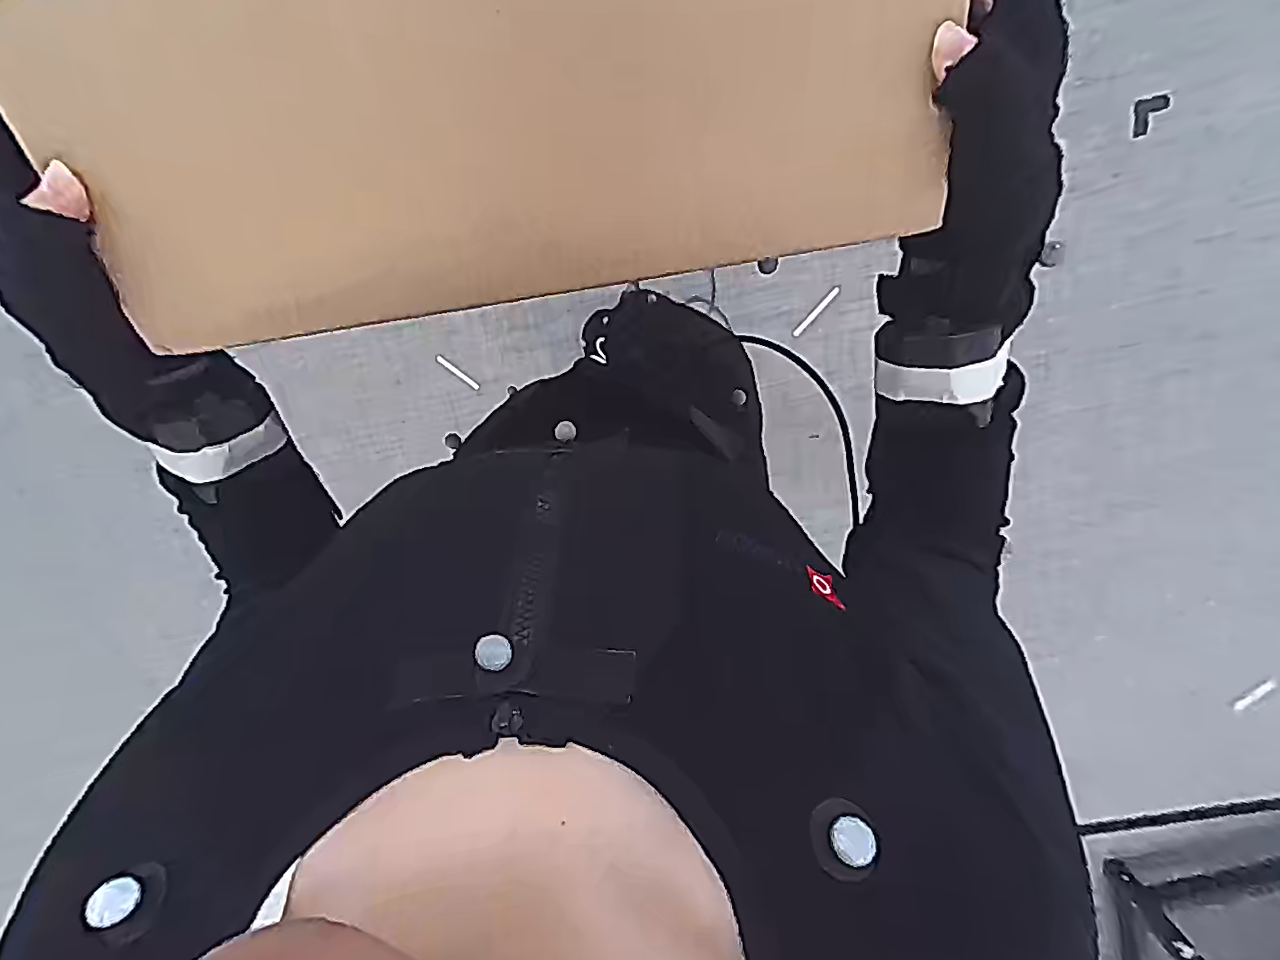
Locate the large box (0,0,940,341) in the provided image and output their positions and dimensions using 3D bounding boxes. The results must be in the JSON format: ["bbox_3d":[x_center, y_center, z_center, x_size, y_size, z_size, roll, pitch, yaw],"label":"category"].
[{"bbox_3d":[-0.081,-0.309,0.334,0.408,0.320,0.320,-8,119,4],"label":"large box"}]
